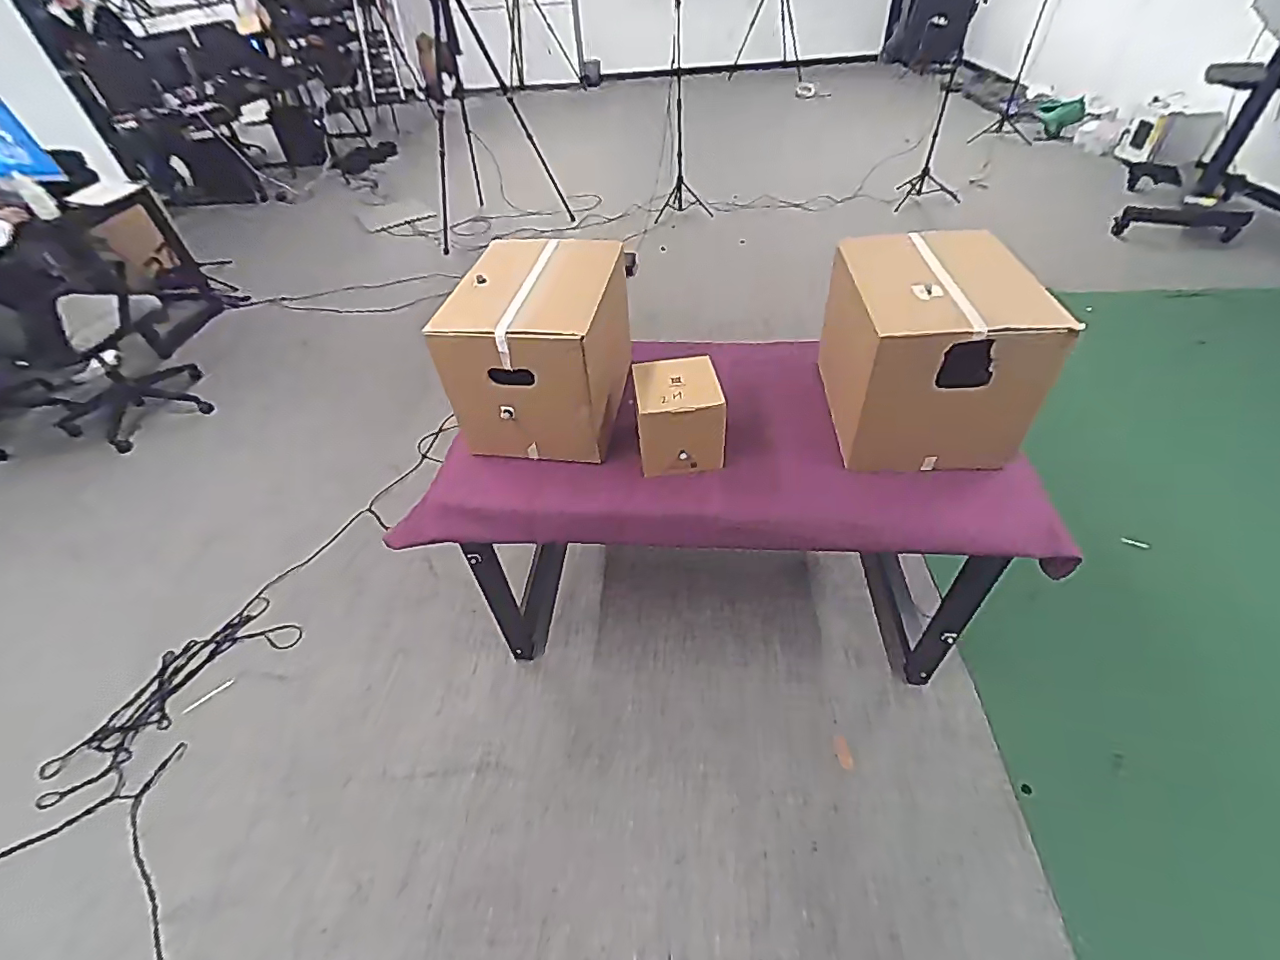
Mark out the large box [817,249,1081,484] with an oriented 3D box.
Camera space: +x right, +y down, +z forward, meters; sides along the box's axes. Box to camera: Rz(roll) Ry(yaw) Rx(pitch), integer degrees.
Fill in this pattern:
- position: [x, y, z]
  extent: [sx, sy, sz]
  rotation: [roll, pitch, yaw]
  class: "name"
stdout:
- position: [0.575, -0.240, 1.118]
  extent: [0.320, 0.320, 0.408]
  rotation: [-2, 45, 7]
  class: "large box"
